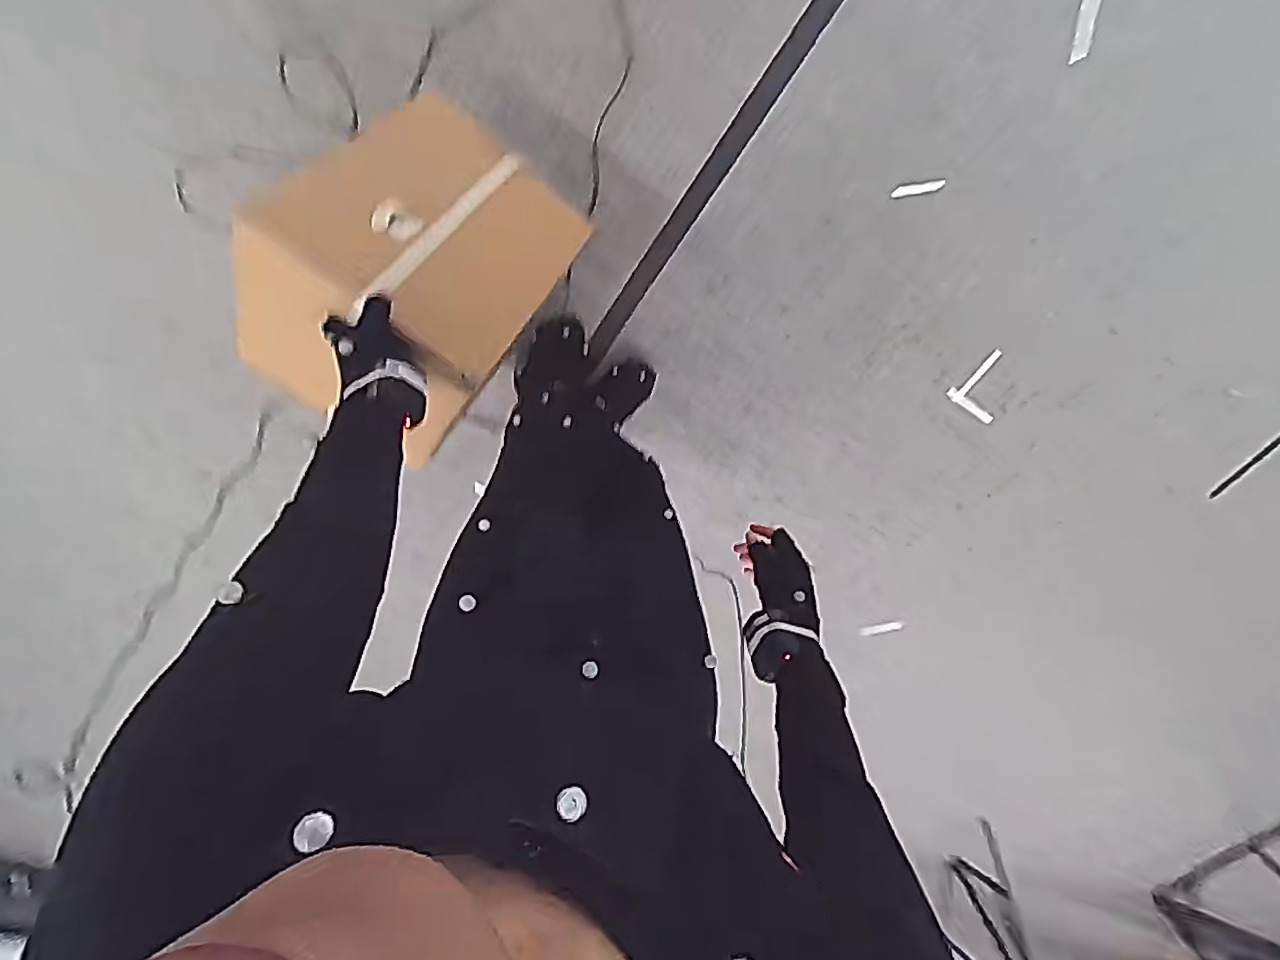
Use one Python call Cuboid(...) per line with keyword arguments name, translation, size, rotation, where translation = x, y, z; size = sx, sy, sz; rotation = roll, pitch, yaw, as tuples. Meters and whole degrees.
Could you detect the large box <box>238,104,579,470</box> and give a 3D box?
Cuboid(name="large box", translation=(-0.358, -0.296, 0.880), size=(0.320, 0.408, 0.320), rotation=(34, 144, -17))
